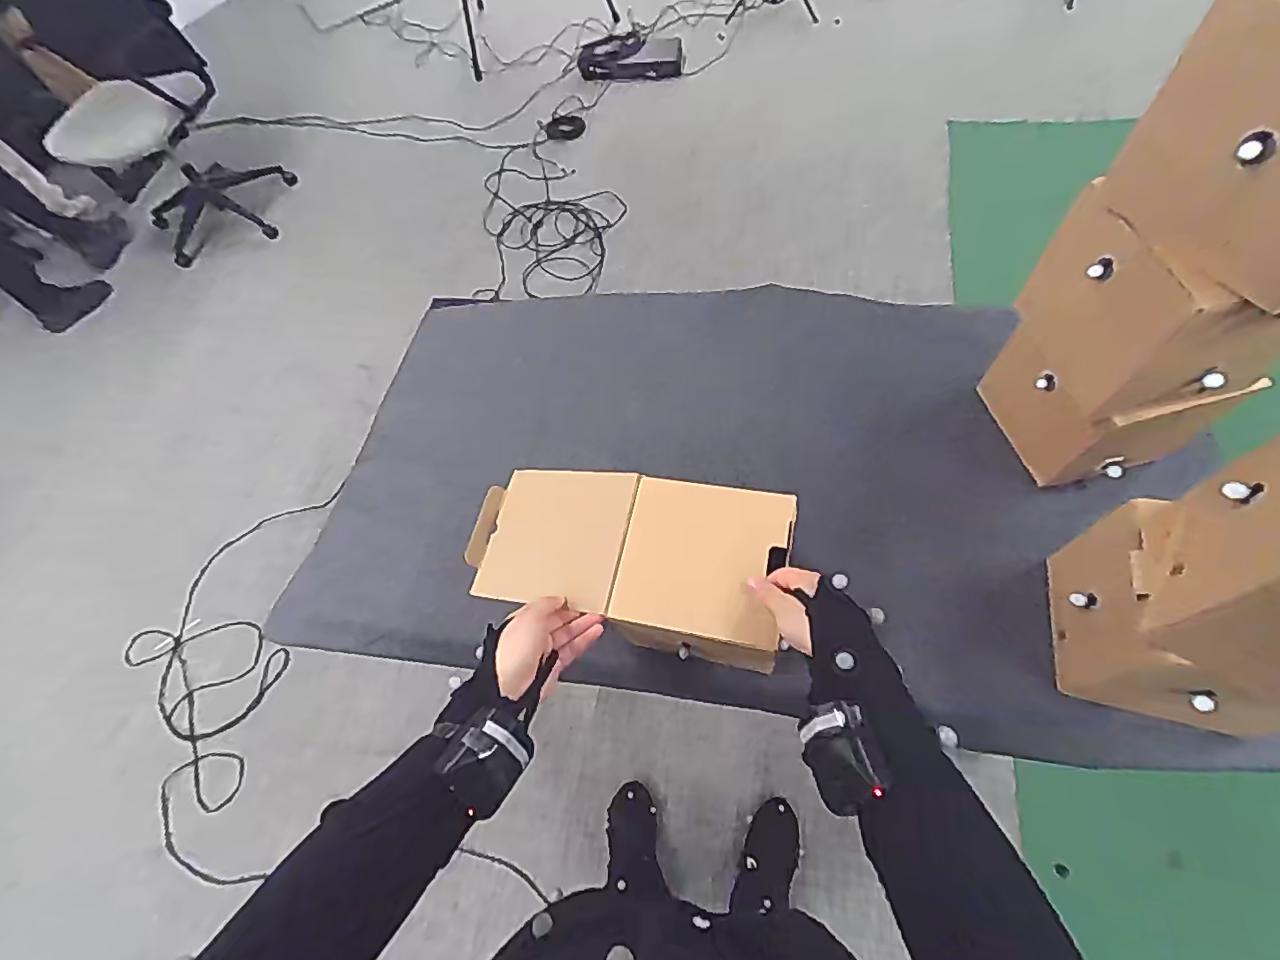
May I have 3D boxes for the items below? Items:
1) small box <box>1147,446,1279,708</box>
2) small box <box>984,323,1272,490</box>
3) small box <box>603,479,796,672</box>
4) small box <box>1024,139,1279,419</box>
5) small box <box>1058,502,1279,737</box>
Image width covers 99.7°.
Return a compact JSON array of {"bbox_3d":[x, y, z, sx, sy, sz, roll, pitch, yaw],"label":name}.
[{"bbox_3d":[0.535,0.077,0.392,0.179,0.176,0.168,31,68,22],"label":"small box"},{"bbox_3d":[0.576,-0.112,0.675,0.168,0.176,0.179,-16,63,3],"label":"small box"},{"bbox_3d":[0.079,0.117,0.626,0.179,0.176,0.168,7,65,17],"label":"small box"},{"bbox_3d":[0.530,-0.187,0.534,0.168,0.176,0.179,-12,62,6],"label":"small box"},{"bbox_3d":[0.554,0.145,0.541,0.179,0.176,0.168,10,62,14],"label":"small box"}]
